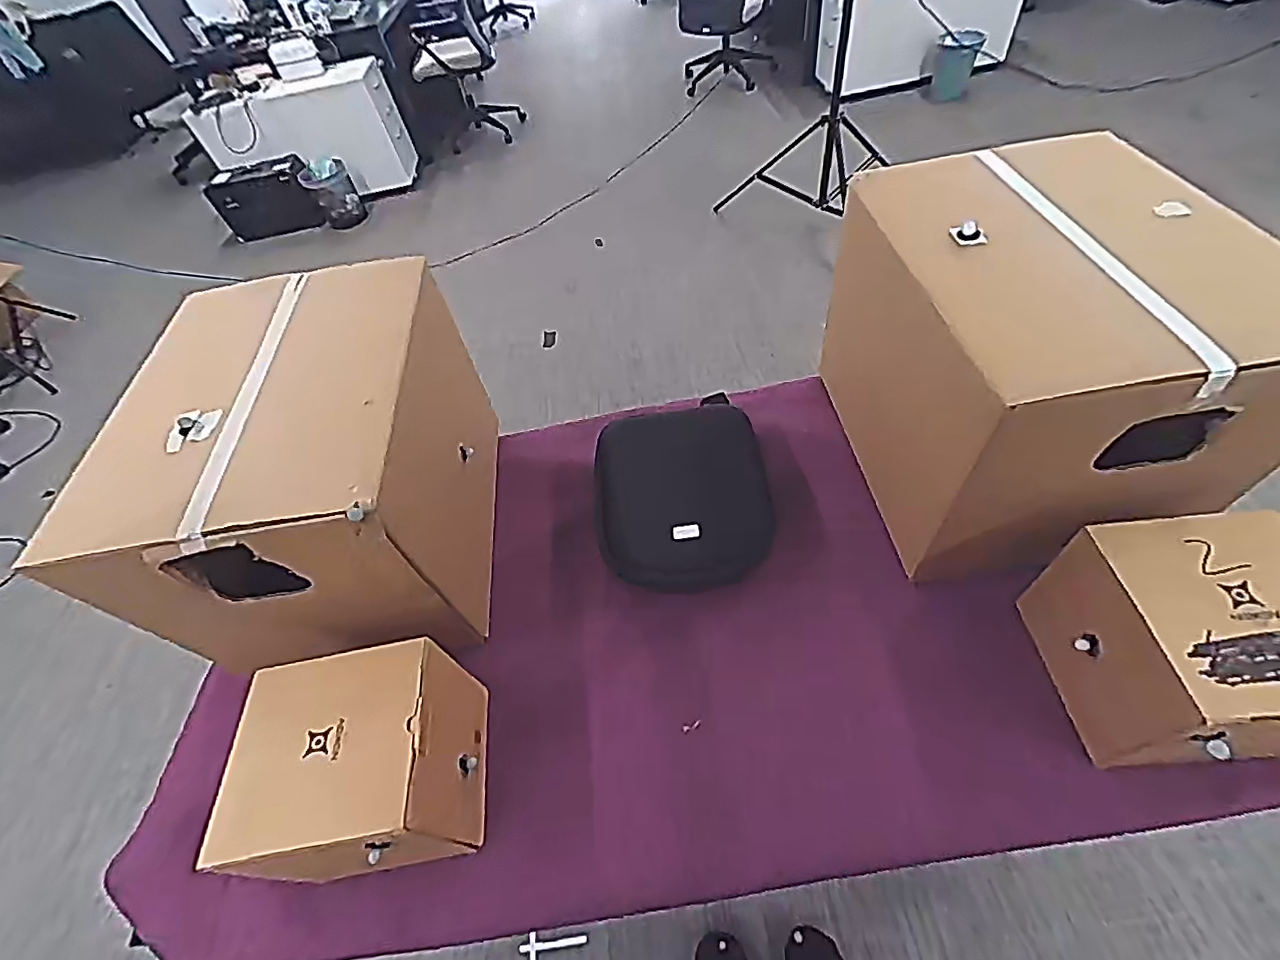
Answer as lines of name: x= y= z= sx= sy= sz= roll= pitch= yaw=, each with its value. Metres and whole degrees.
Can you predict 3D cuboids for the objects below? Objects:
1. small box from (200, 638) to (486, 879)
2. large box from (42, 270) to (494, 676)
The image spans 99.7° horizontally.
small box: x=-0.273 y=0.286 z=0.548 sx=0.179 sy=0.176 sz=0.168 roll=-12 pitch=50 yaw=0
large box: x=-0.384 y=-0.006 z=0.702 sx=0.320 sy=0.320 sz=0.408 roll=-11 pitch=54 yaw=0
